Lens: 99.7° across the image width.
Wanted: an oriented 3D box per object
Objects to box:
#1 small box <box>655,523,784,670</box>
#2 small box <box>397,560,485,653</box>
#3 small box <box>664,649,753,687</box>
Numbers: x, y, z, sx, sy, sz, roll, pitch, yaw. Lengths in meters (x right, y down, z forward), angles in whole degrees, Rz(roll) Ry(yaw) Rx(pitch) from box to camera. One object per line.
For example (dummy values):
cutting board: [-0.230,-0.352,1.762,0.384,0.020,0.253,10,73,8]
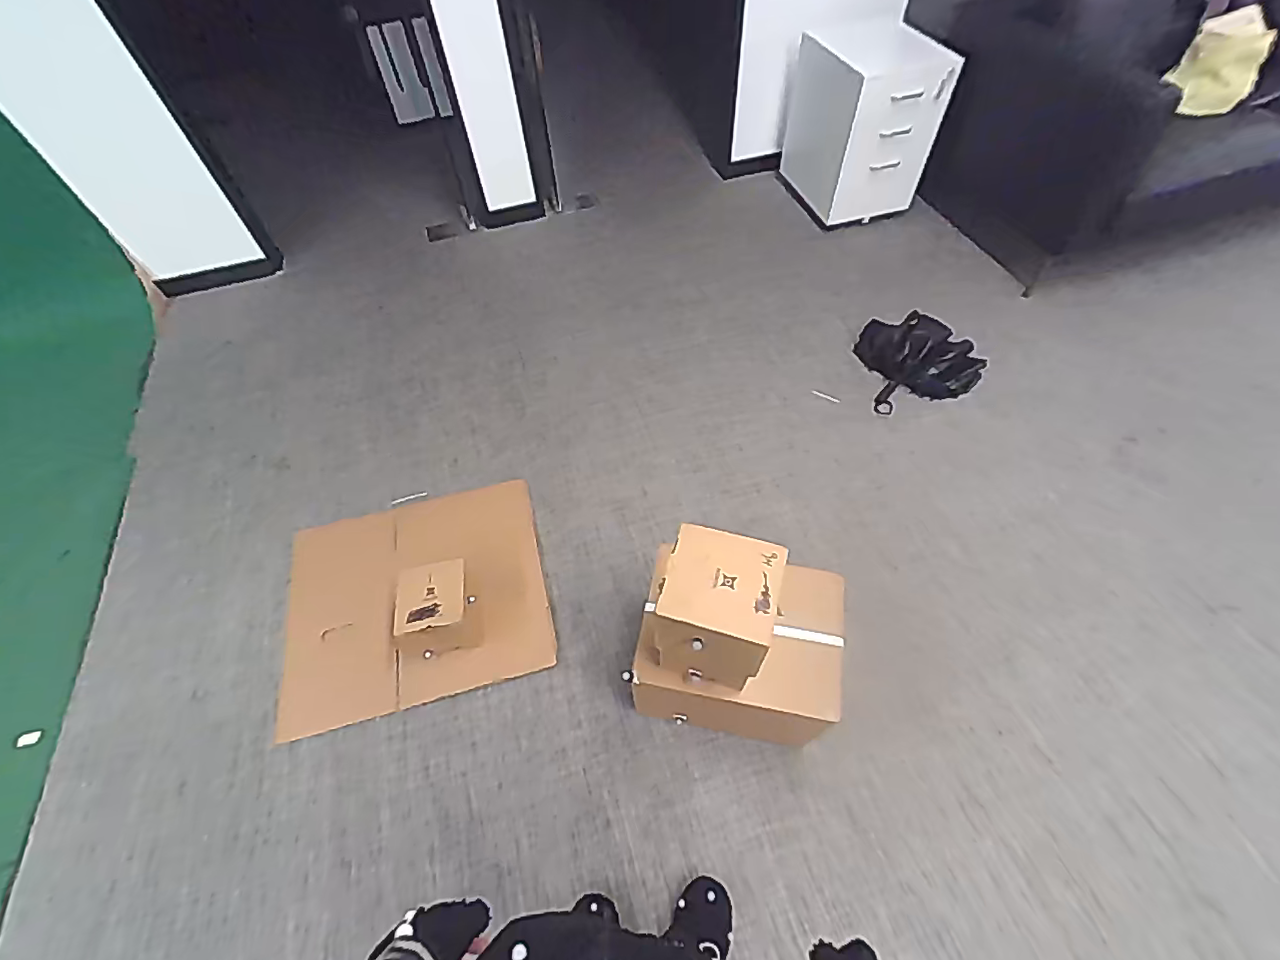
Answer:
small box: [0.130,0.196,0.895,0.179,0.176,0.168,10,55,11]
small box: [-0.500,0.331,1.385,0.168,0.176,0.179,-10,54,-3]
small box: [0.139,0.274,1.037,0.168,0.176,0.179,10,58,11]
